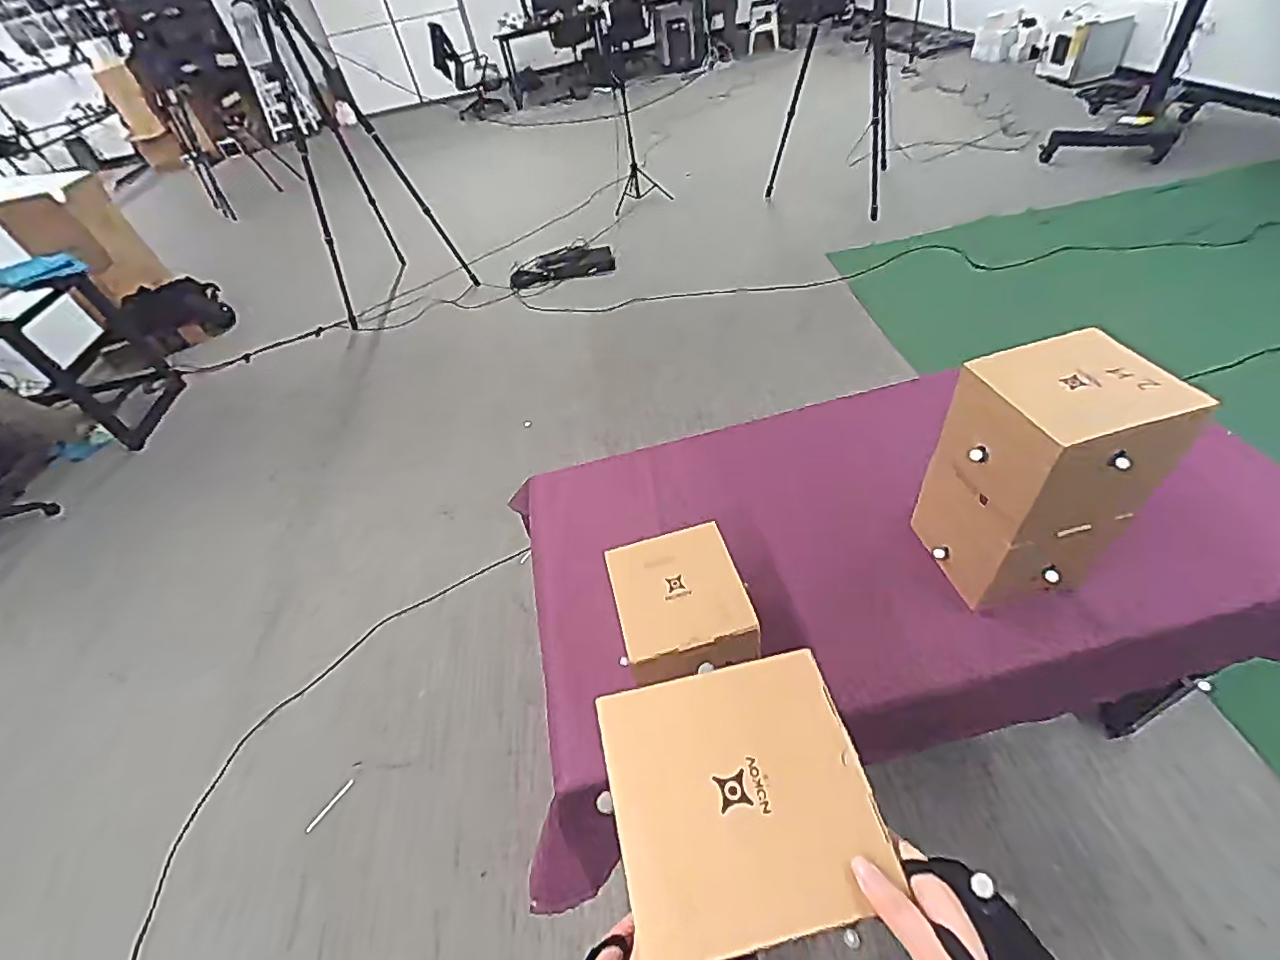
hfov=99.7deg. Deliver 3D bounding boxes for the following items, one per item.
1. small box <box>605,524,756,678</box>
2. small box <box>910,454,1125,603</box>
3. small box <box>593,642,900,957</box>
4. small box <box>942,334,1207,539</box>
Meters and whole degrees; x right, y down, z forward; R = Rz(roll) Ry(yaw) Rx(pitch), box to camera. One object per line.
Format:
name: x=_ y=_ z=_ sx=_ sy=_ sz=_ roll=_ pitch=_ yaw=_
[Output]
small box: x=0.058 y=0.196 z=0.763 sx=0.168 sy=0.176 sz=0.179 roll=-15 pitch=45 yaw=-3
small box: x=0.529 y=0.062 z=0.791 sx=0.168 sy=0.176 sz=0.179 roll=-14 pitch=47 yaw=-2
small box: x=0.067 y=0.256 z=0.440 sx=0.179 sy=0.176 sz=0.168 roll=-11 pitch=53 yaw=-7
small box: x=0.506 y=-0.050 z=0.671 sx=0.179 sy=0.176 sz=0.168 roll=-15 pitch=46 yaw=-2
